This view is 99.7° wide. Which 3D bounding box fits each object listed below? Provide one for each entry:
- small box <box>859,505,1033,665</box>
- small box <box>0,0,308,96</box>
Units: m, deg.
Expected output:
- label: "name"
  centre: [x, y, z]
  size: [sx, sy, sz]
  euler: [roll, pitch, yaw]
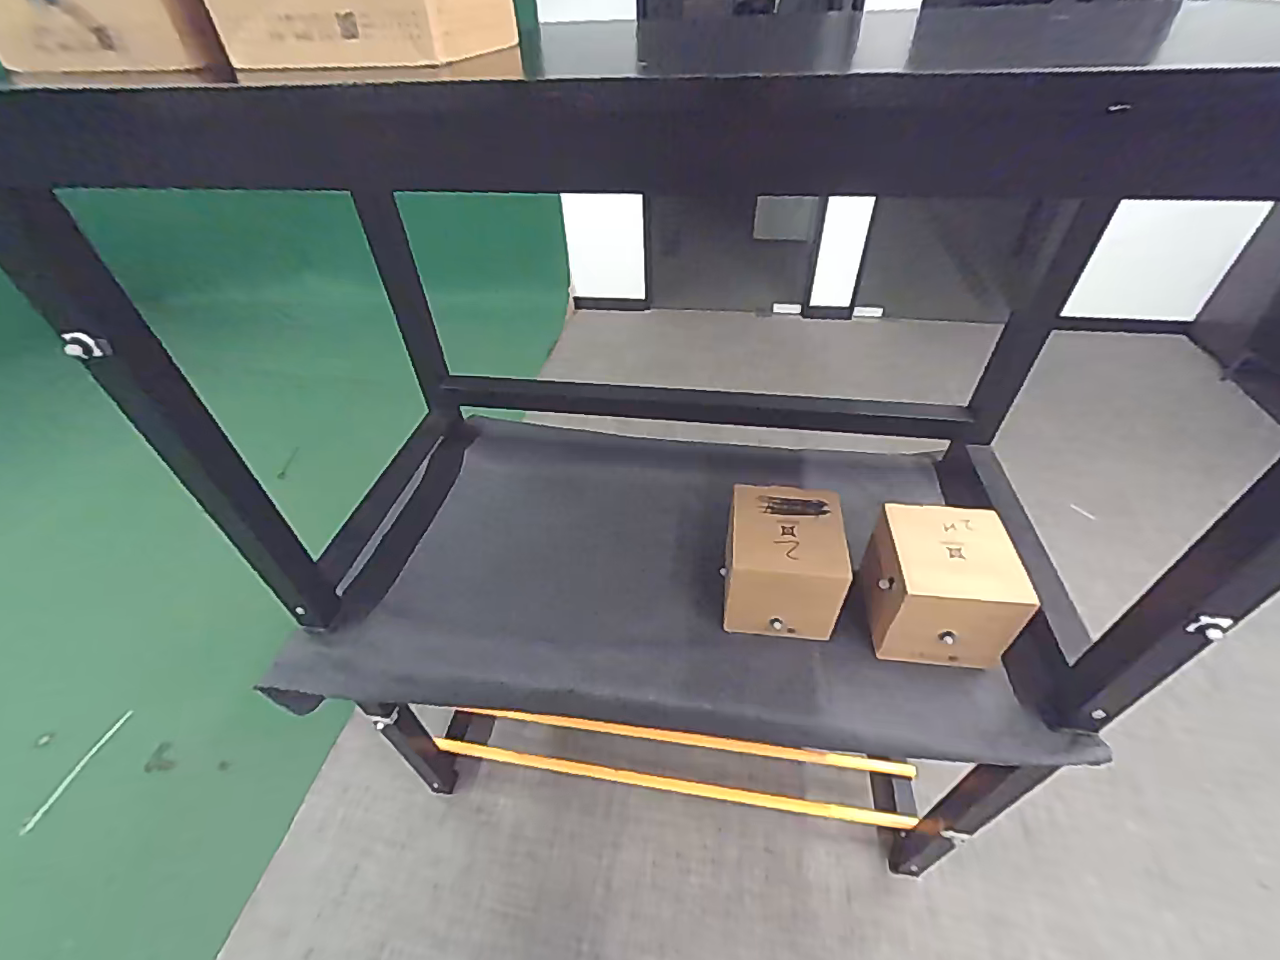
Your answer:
- label: "small box"
  centre: [0.448, 0.161, 0.827]
  size: [0.168, 0.176, 0.179]
  euler: [4, 42, 7]
- label: "small box"
  centre: [-0.406, -0.422, 0.430]
  size: [0.168, 0.176, 0.179]
  euler: [4, 44, 7]
